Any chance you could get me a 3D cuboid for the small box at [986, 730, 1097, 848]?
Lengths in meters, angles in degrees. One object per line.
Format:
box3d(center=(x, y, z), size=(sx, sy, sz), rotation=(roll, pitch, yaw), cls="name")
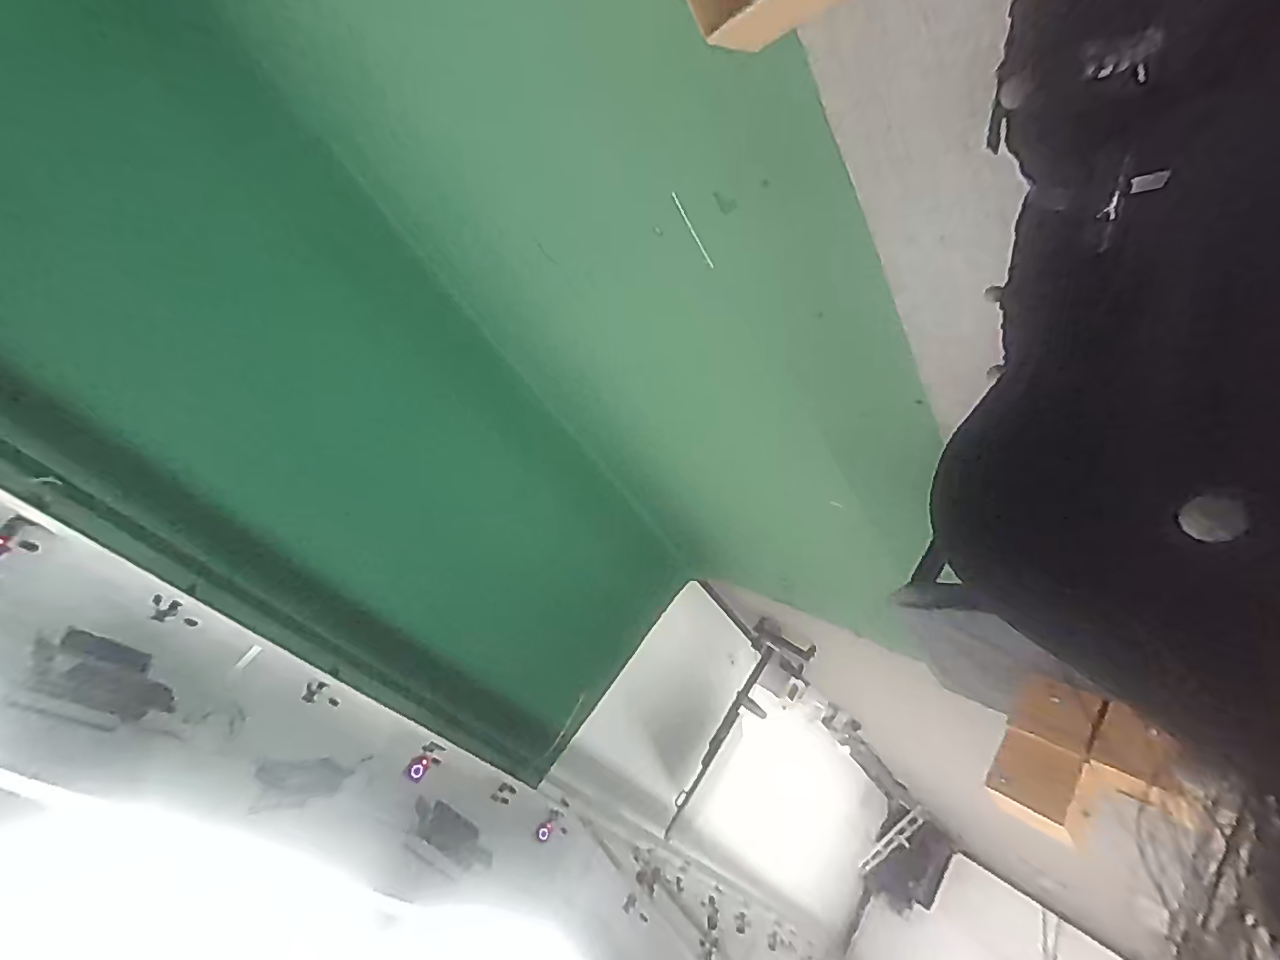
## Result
box3d(center=(1.014, 0.767, 1.359), size=(0.168, 0.176, 0.179), rotation=(48, 159, -28), cls="small box")
